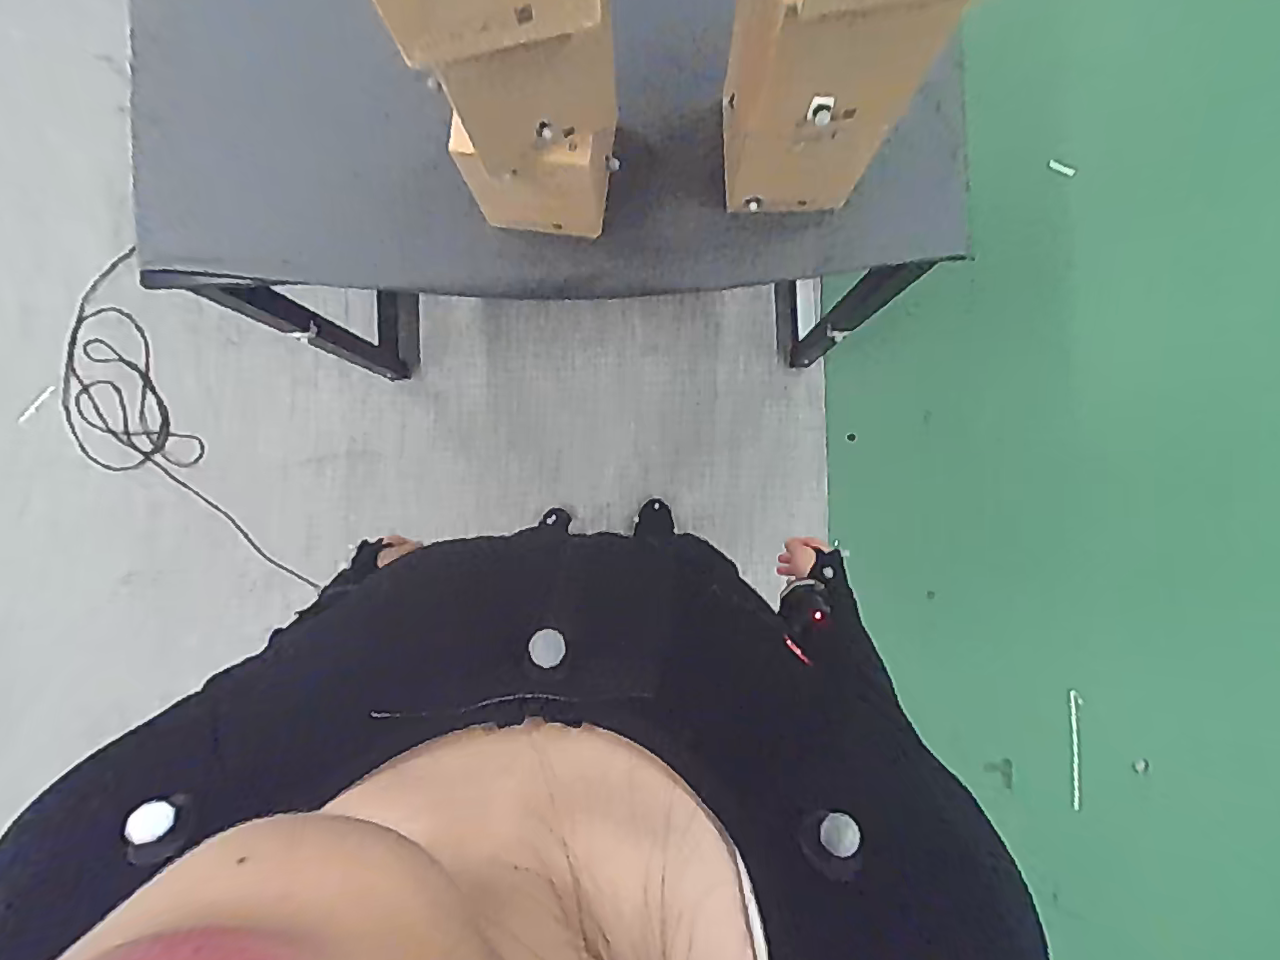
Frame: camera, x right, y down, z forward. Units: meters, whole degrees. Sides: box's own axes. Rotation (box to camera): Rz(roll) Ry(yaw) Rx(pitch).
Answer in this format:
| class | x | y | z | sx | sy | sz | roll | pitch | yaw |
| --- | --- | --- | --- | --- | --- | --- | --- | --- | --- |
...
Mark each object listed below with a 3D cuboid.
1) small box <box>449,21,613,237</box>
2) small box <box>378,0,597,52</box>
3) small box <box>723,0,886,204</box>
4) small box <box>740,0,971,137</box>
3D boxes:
| class | x | y | z | sx | sy | sz | roll | pitch | yaw |
| --- | --- | --- | --- | --- | --- | --- | --- | --- | --- |
| small box | -0.127 | -0.448 | 0.699 | 0.168 | 0.176 | 0.179 | 7 | 87 | 1 |
| small box | -0.131 | -0.442 | 0.371 | 0.168 | 0.176 | 0.179 | -14 | 88 | 0 |
| small box | 0.200 | -0.478 | 0.696 | 0.168 | 0.176 | 0.179 | -2 | 86 | 1 |
| small box | 0.198 | -0.483 | 0.534 | 0.168 | 0.176 | 0.179 | -5 | 87 | 2 |
